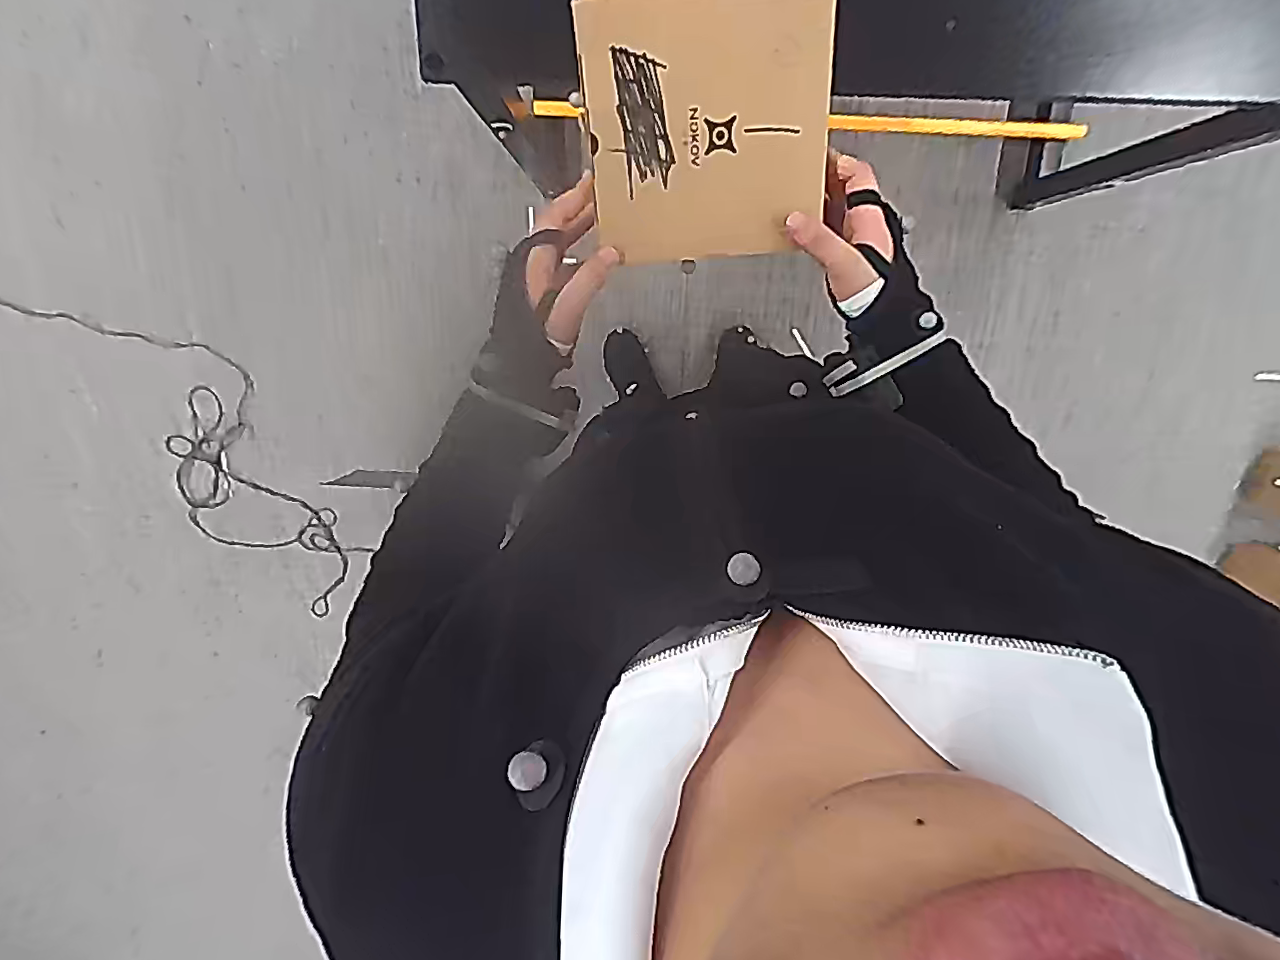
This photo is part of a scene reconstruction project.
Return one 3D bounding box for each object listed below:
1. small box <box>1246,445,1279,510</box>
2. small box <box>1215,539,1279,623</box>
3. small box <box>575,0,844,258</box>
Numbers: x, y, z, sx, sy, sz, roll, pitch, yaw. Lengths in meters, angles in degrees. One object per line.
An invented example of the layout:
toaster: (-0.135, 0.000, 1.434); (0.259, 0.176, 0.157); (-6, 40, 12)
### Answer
small box: (1.787, 0.007, 1.425); (0.179, 0.176, 0.168); (4, 107, 0)
small box: (1.786, 0.281, 1.509); (0.168, 0.176, 0.179); (1, 107, 0)
small box: (0.046, -0.280, 0.449); (0.179, 0.176, 0.168); (-5, 116, -1)
